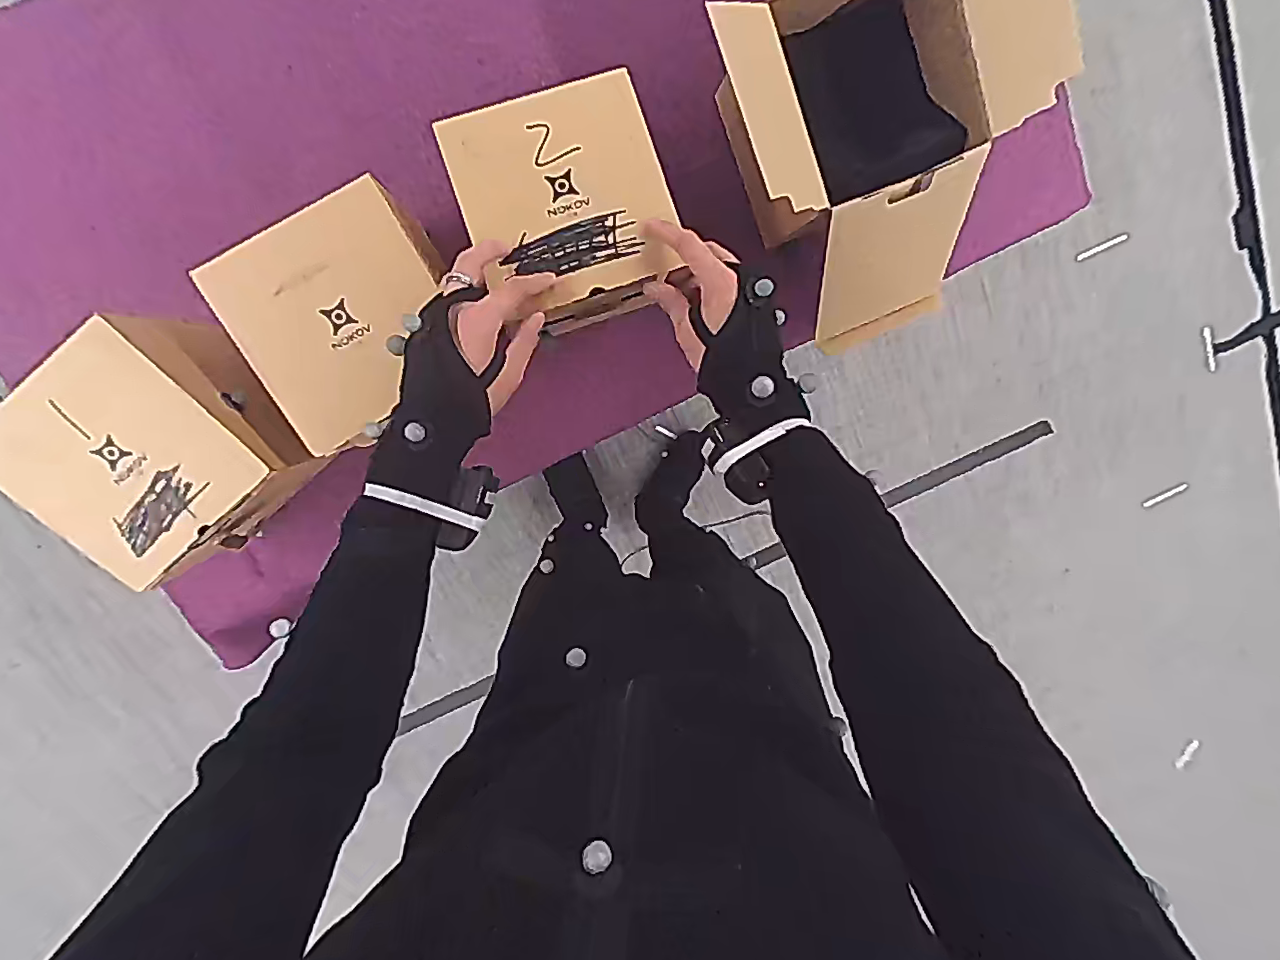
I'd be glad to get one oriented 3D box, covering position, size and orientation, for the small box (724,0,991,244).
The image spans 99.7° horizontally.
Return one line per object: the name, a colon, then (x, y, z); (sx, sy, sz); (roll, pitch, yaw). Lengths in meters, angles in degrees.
small box: (0.201, -0.366, 0.541); (0.168, 0.176, 0.179); (-23, 104, -1)
